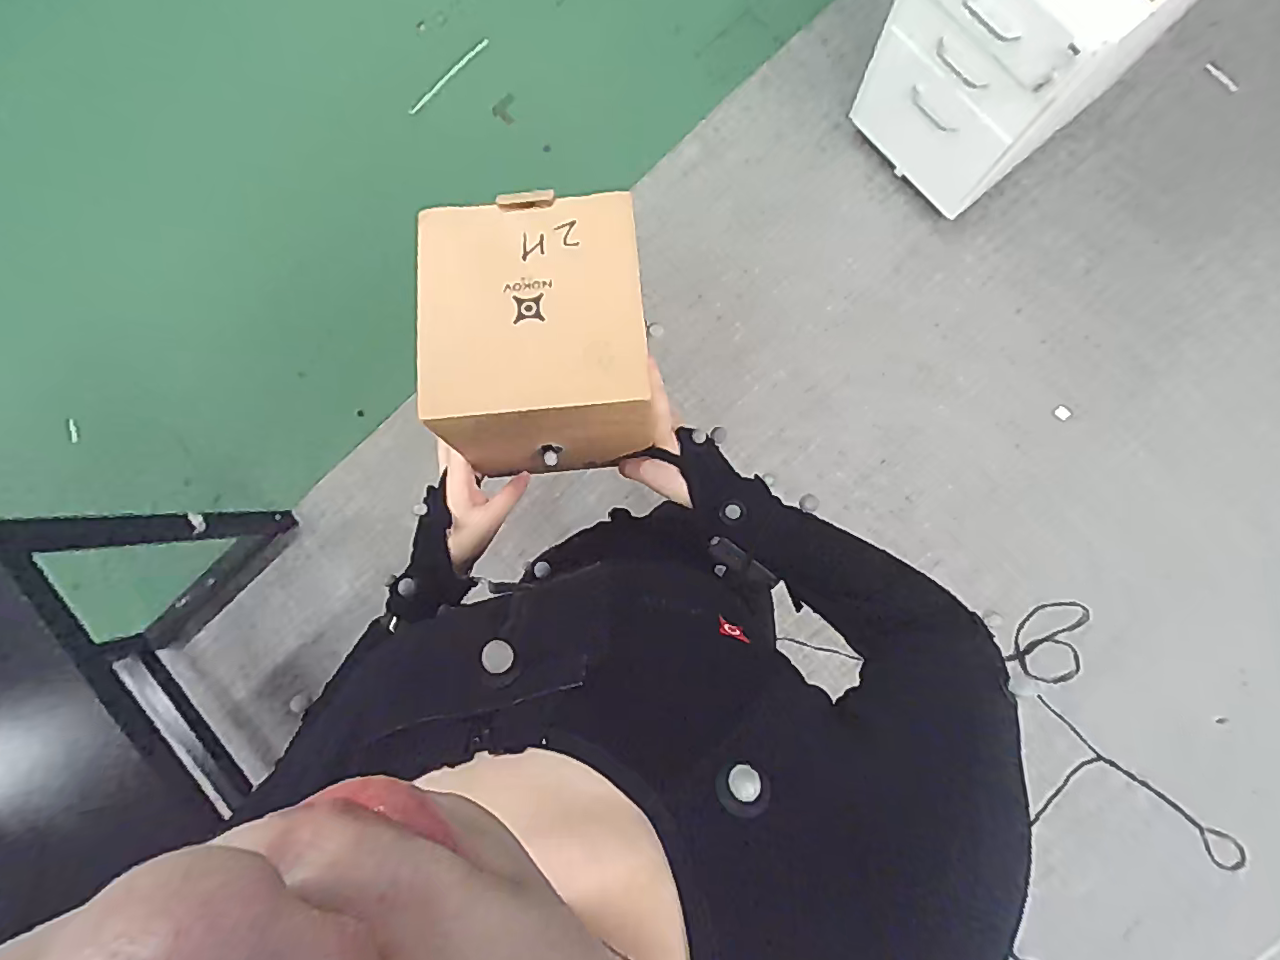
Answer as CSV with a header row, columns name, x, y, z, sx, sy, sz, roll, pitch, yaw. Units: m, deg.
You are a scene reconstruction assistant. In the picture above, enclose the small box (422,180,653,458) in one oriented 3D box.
name,x,y,z,sx,sy,sz,roll,pitch,yaw
small box,-0.075,-0.121,0.471,0.168,0.176,0.179,-4,77,-1
